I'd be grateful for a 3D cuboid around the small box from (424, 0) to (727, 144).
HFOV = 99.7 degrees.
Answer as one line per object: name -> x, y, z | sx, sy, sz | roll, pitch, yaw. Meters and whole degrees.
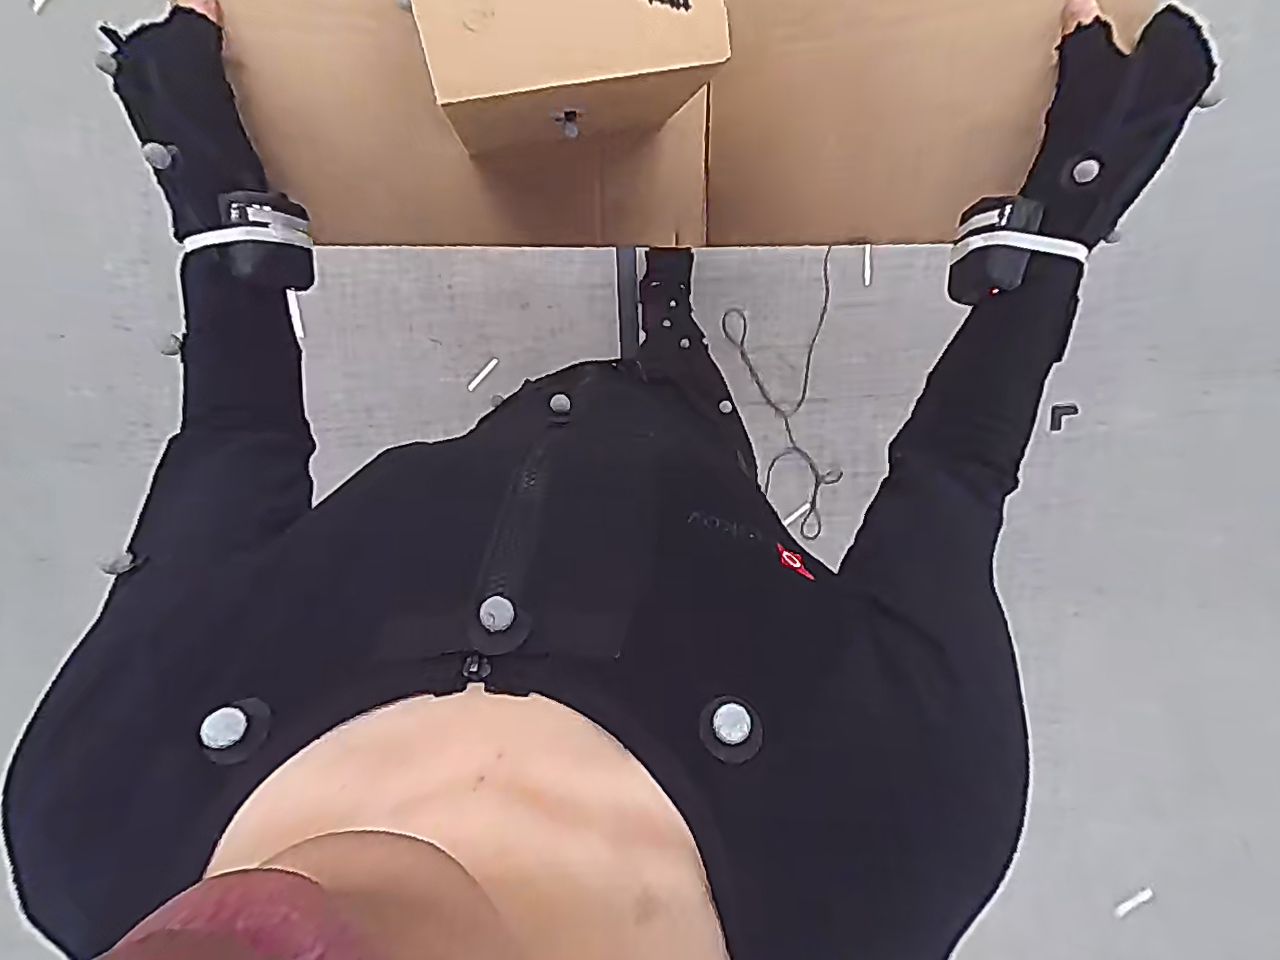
small box -> -0.056, -0.345, 0.365 | 0.179, 0.176, 0.168 | -13, 114, -6
